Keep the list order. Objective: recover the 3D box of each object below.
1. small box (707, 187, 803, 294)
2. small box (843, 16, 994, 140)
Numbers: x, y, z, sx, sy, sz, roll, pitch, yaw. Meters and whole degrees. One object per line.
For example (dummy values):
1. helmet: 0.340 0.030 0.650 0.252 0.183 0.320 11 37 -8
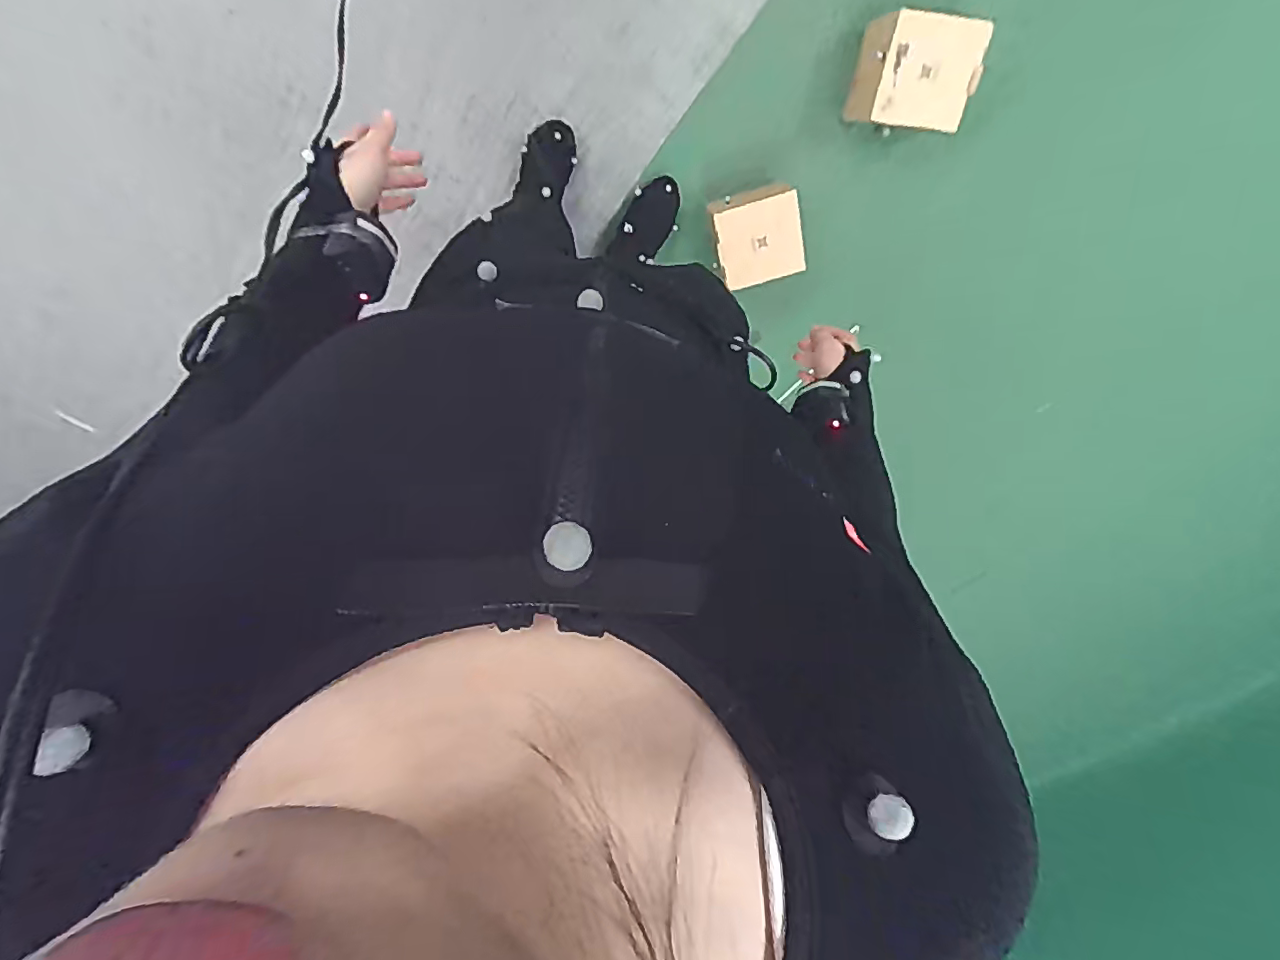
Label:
1. small box: 0.251 -0.539 1.210 0.179 0.176 0.168 -14 123 8
2. small box: 0.529 -0.775 1.055 0.179 0.176 0.168 6 123 -5
